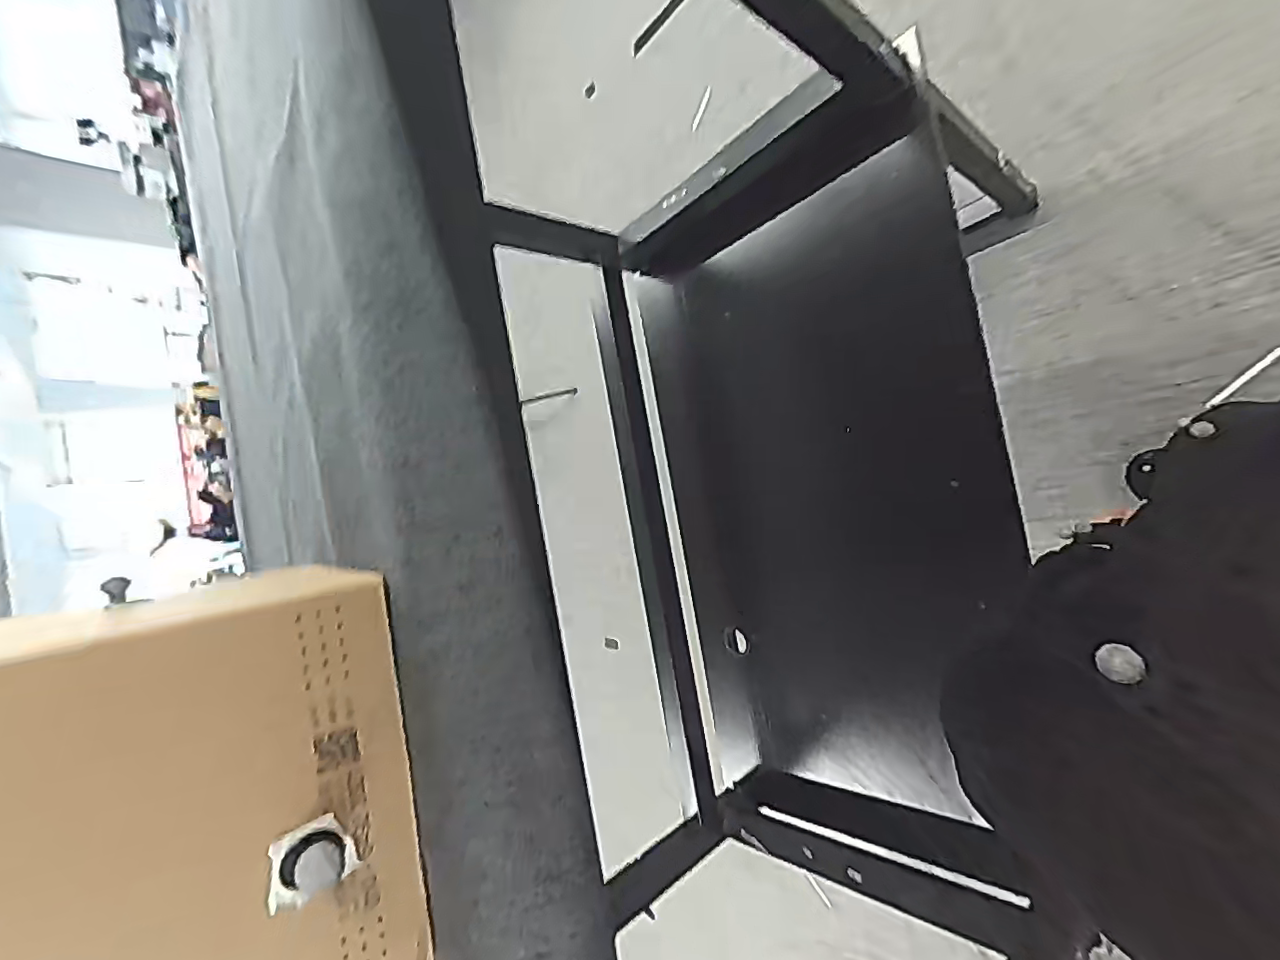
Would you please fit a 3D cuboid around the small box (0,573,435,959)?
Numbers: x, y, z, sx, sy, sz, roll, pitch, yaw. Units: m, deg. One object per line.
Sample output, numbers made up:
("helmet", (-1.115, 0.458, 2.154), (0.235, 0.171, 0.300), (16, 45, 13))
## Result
("small box", (-0.207, 0.141, 0.236), (0.179, 0.176, 0.168), (-10, 90, 50))
